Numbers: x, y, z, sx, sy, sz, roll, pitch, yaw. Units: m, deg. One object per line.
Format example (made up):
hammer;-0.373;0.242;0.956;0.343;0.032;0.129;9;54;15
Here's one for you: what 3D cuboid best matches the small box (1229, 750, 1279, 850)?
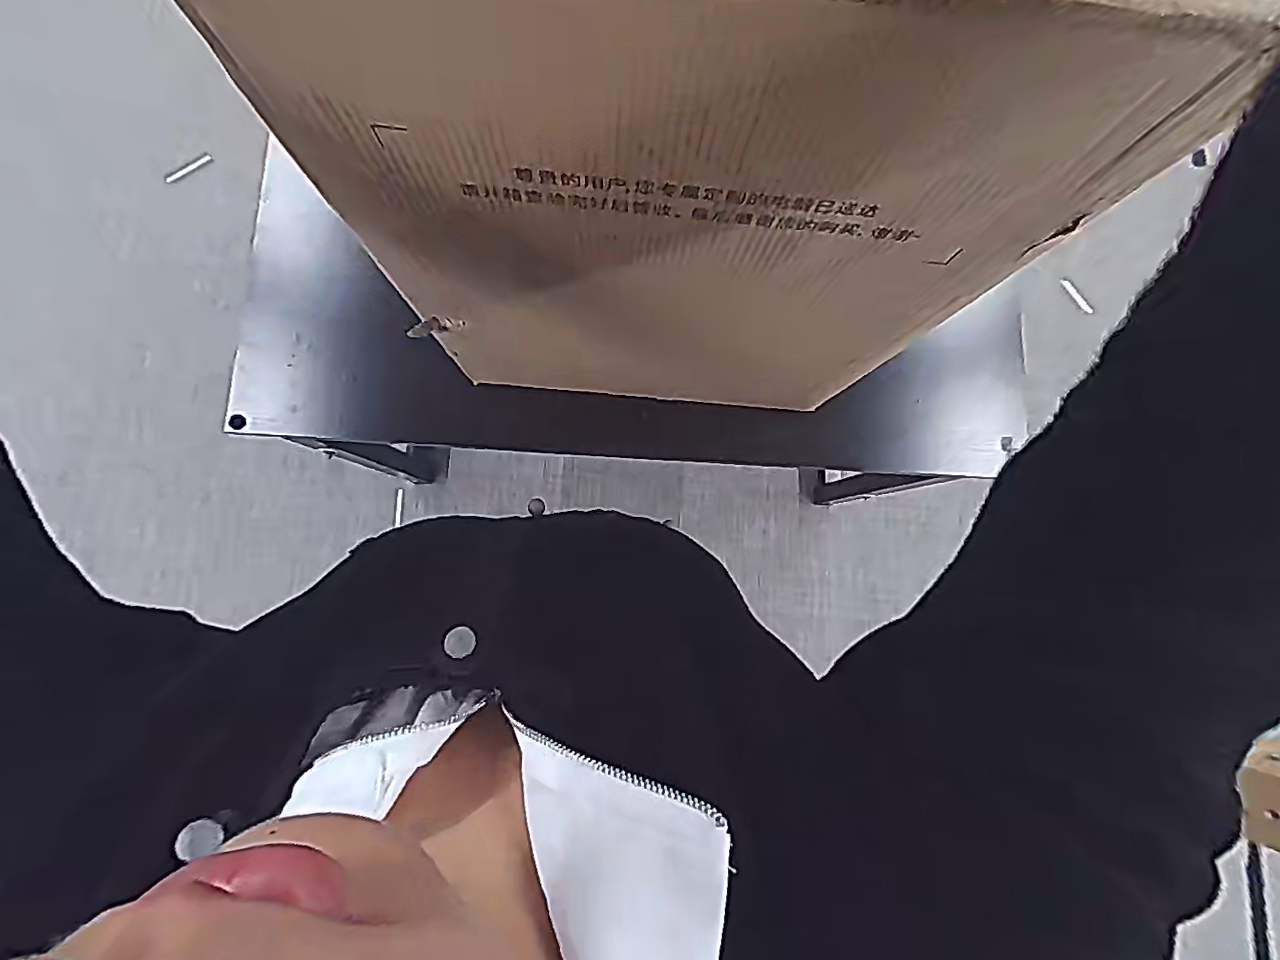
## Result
small box;1.397;0.682;1.125;0.179;0.176;0.168;-6;82;-4
